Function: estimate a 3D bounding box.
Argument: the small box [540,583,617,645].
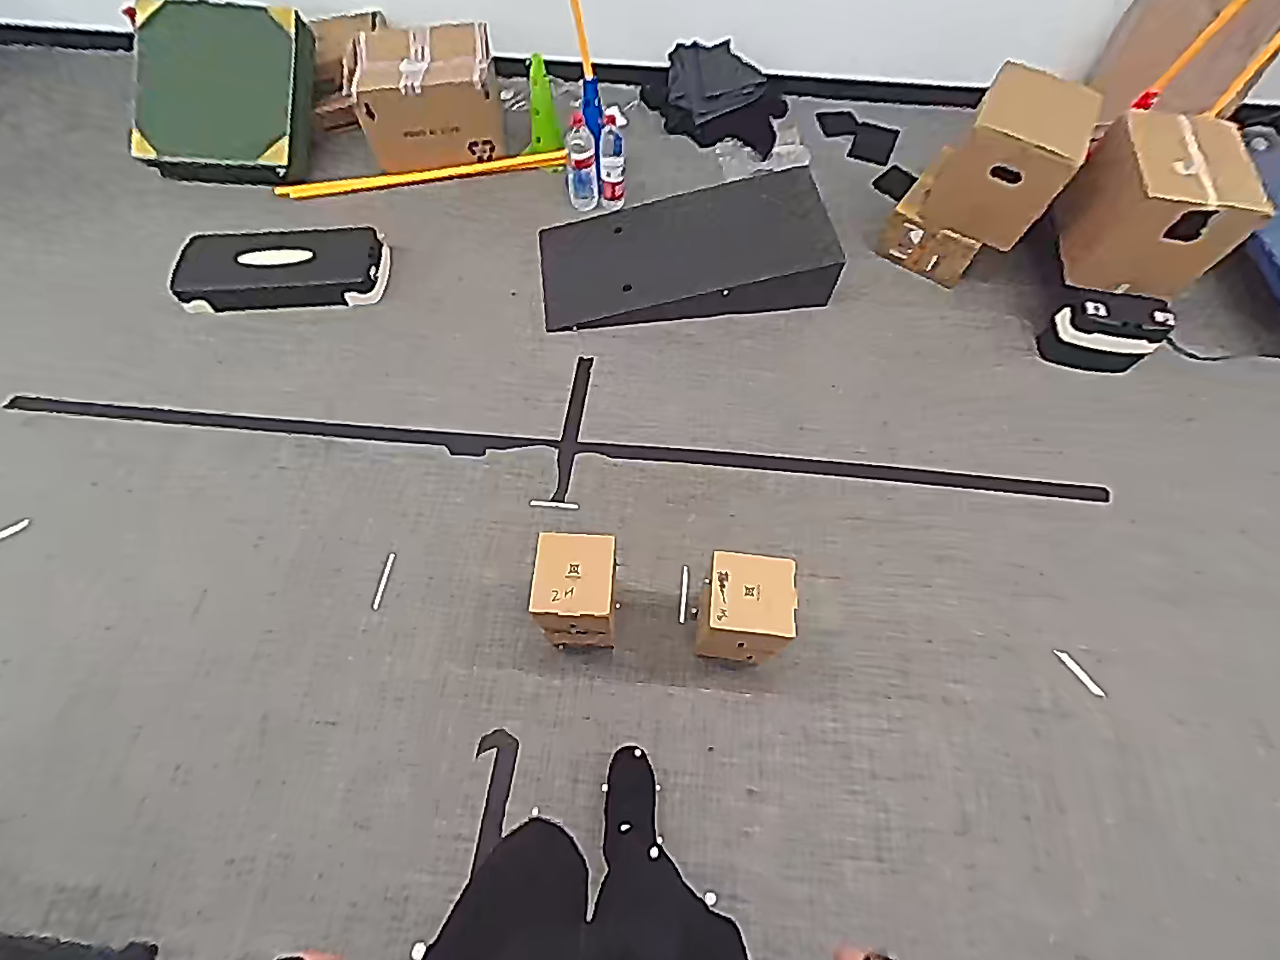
[{"bbox_3d":[-0.144,0.306,1.334,0.168,0.176,0.179,2,63,-1],"label":"small box"}]

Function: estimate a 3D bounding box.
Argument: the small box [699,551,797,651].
[{"bbox_3d":[0.231,0.270,1.178,0.179,0.176,0.168,8,63,2],"label":"small box"}]

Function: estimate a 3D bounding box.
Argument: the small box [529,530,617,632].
[{"bbox_3d":[-0.139,0.226,1.189,0.168,0.176,0.179,3,64,1],"label":"small box"}]

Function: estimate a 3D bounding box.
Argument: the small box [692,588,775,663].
[{"bbox_3d":[0.230,0.345,1.323,0.179,0.176,0.168,9,64,4],"label":"small box"}]
